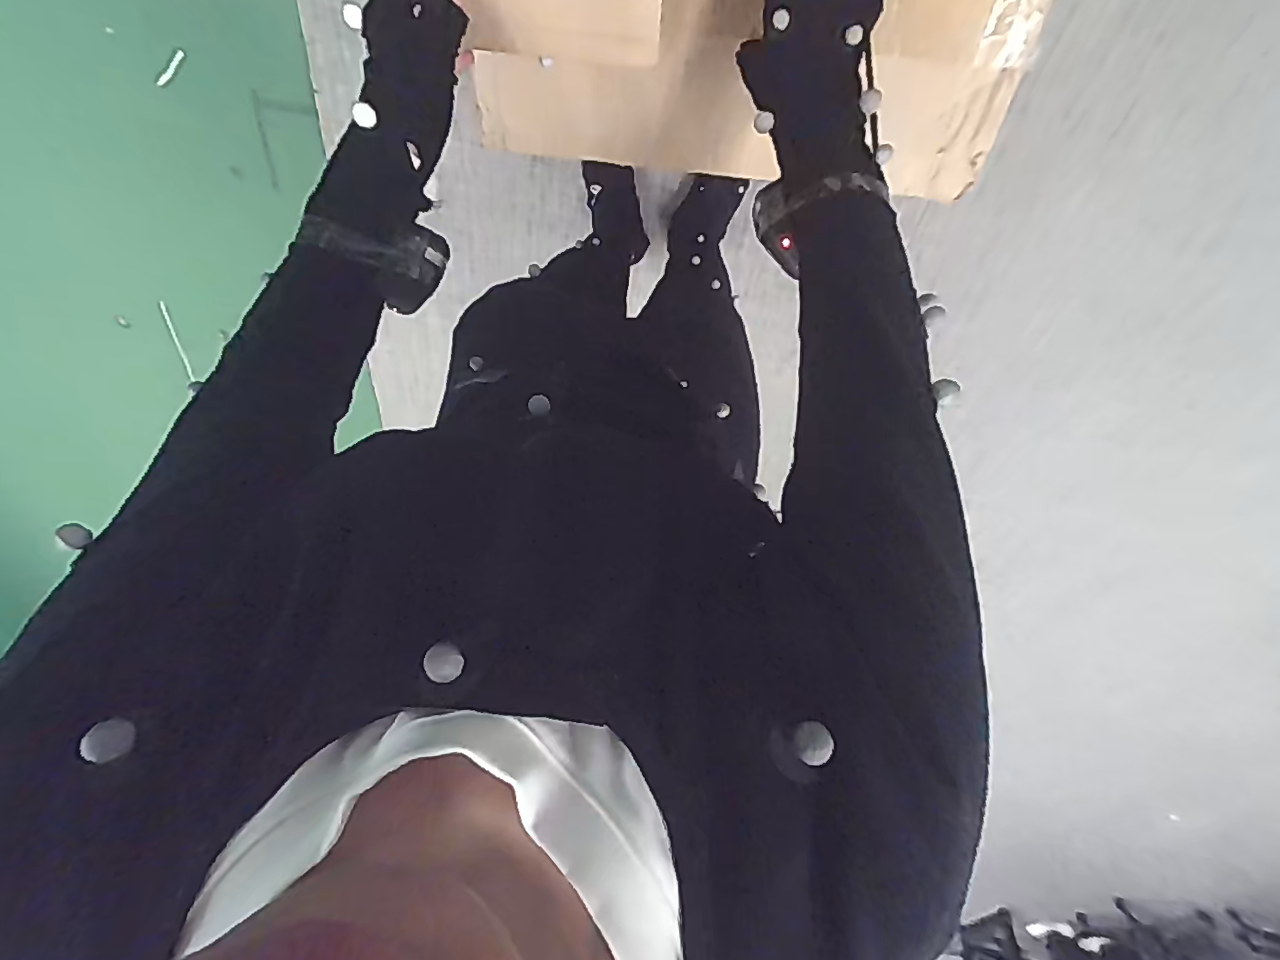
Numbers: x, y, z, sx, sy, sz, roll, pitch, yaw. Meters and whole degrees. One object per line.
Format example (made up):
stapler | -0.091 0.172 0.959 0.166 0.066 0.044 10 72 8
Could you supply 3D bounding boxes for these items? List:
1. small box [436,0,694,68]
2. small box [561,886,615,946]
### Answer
small box | -0.047 -0.434 0.407 0.179 0.176 0.168 10 137 5
small box | -0.210 1.753 2.201 0.179 0.176 0.168 13 131 4
